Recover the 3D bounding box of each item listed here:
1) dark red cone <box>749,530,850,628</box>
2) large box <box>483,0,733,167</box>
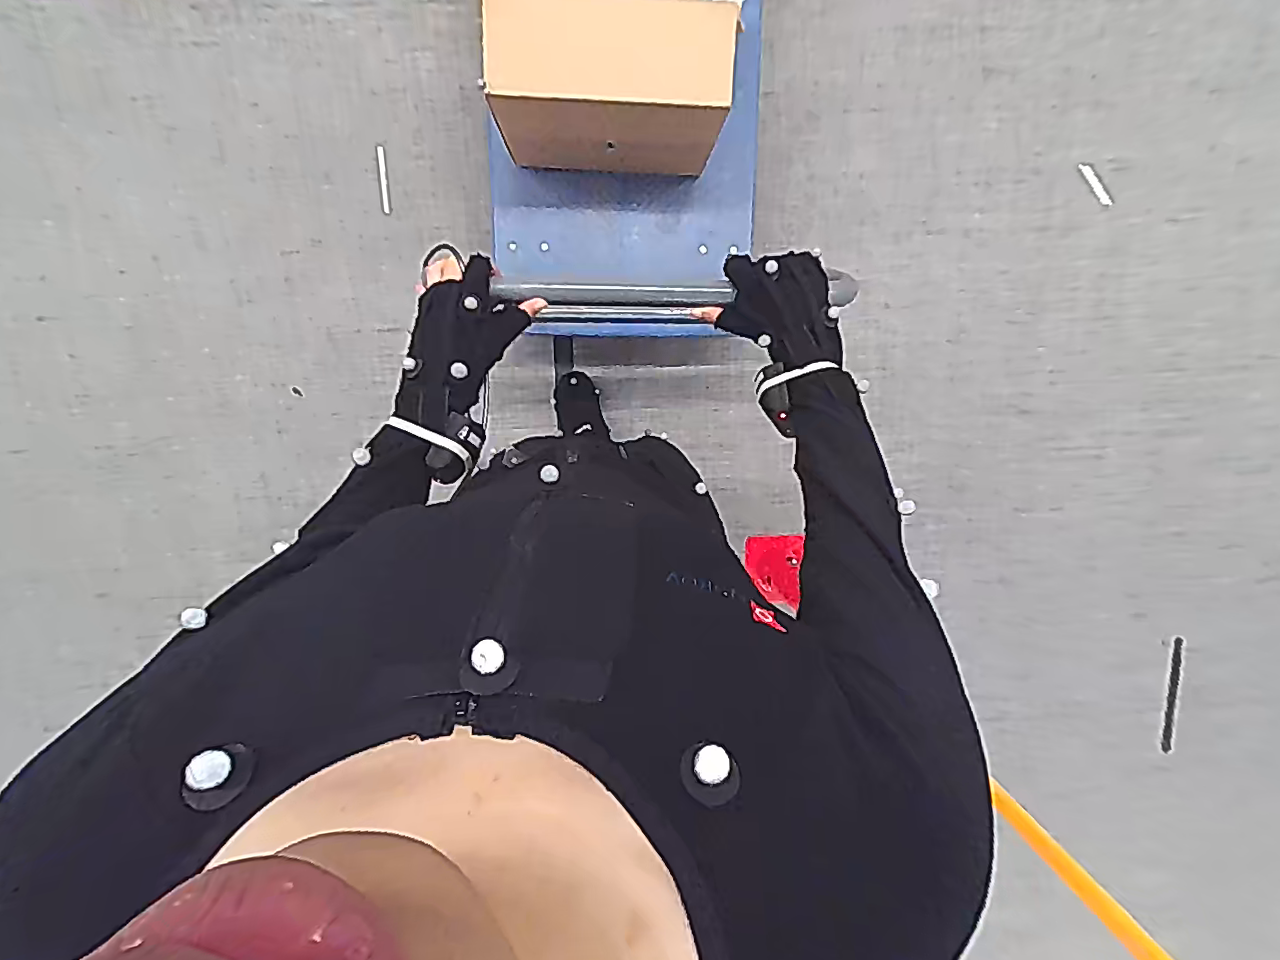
[{"bbox_3d":[0.418,0.268,1.351,0.201,0.394,0.202,-3,101,-4],"label":"dark red cone"},{"bbox_3d":[-0.054,-0.800,0.998,0.408,0.320,0.320,1,101,-3],"label":"large box"}]
